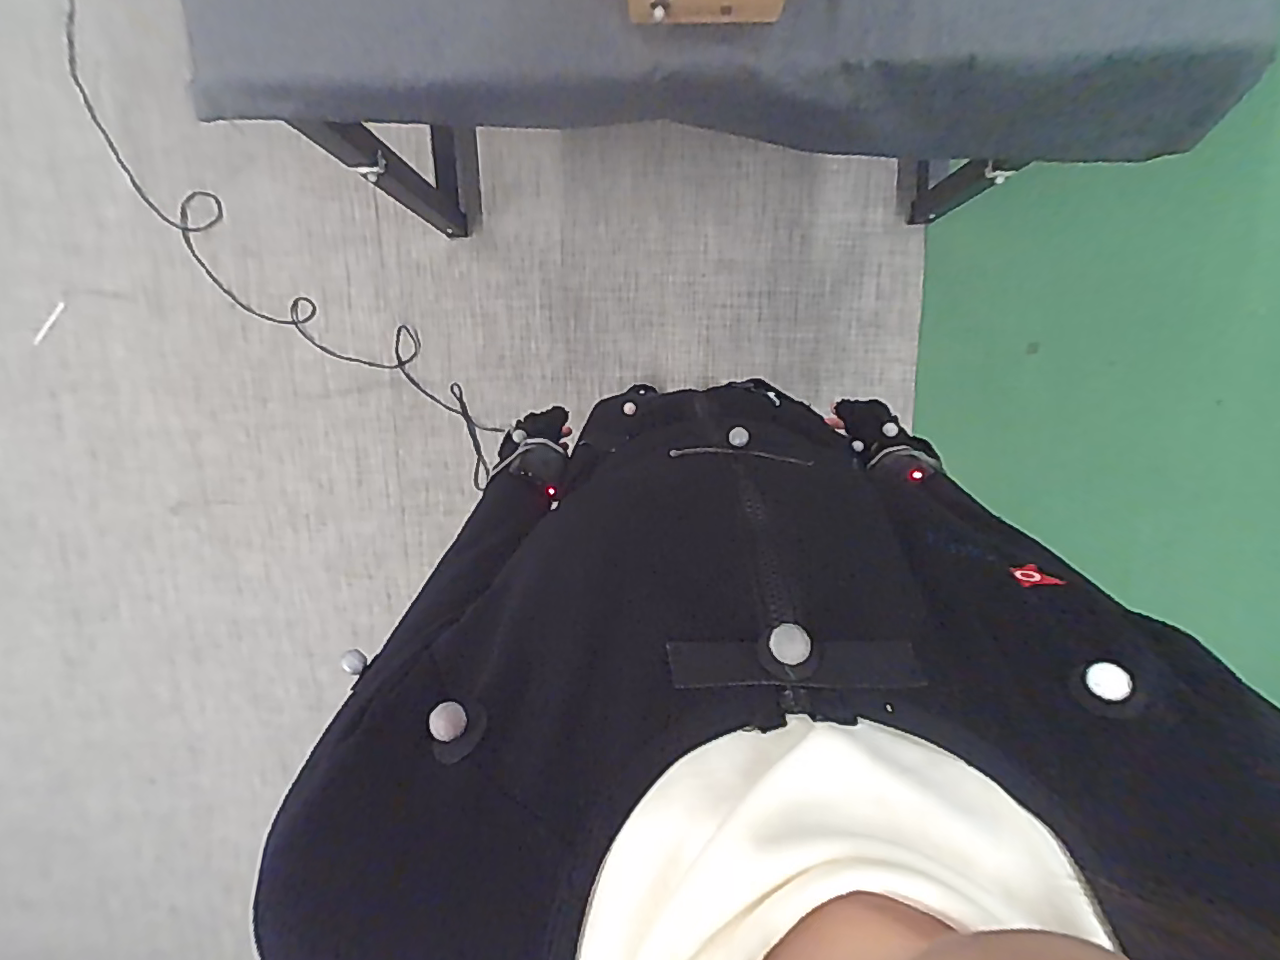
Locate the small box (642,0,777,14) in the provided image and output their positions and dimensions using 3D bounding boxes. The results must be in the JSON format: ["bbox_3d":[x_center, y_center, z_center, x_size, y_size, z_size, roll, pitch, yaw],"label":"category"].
[{"bbox_3d":[0.071,-0.594,0.519,0.168,0.176,0.179,0,98,1],"label":"small box"}]
